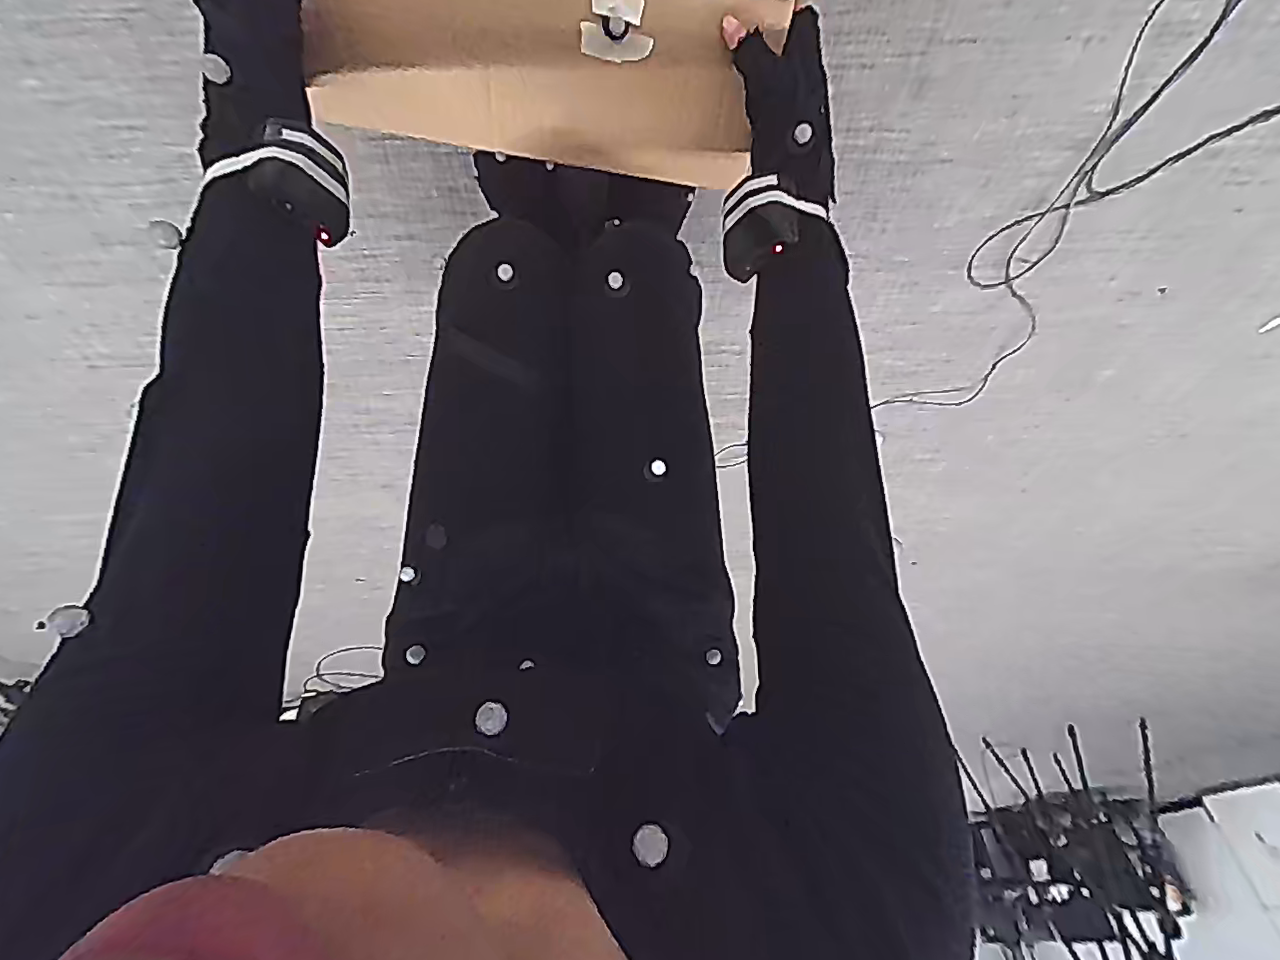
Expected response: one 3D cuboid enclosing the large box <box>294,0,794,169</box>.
[{"bbox_3d":[-0.071,-0.528,0.494,0.408,0.320,0.320,6,138,-6],"label":"large box"}]
